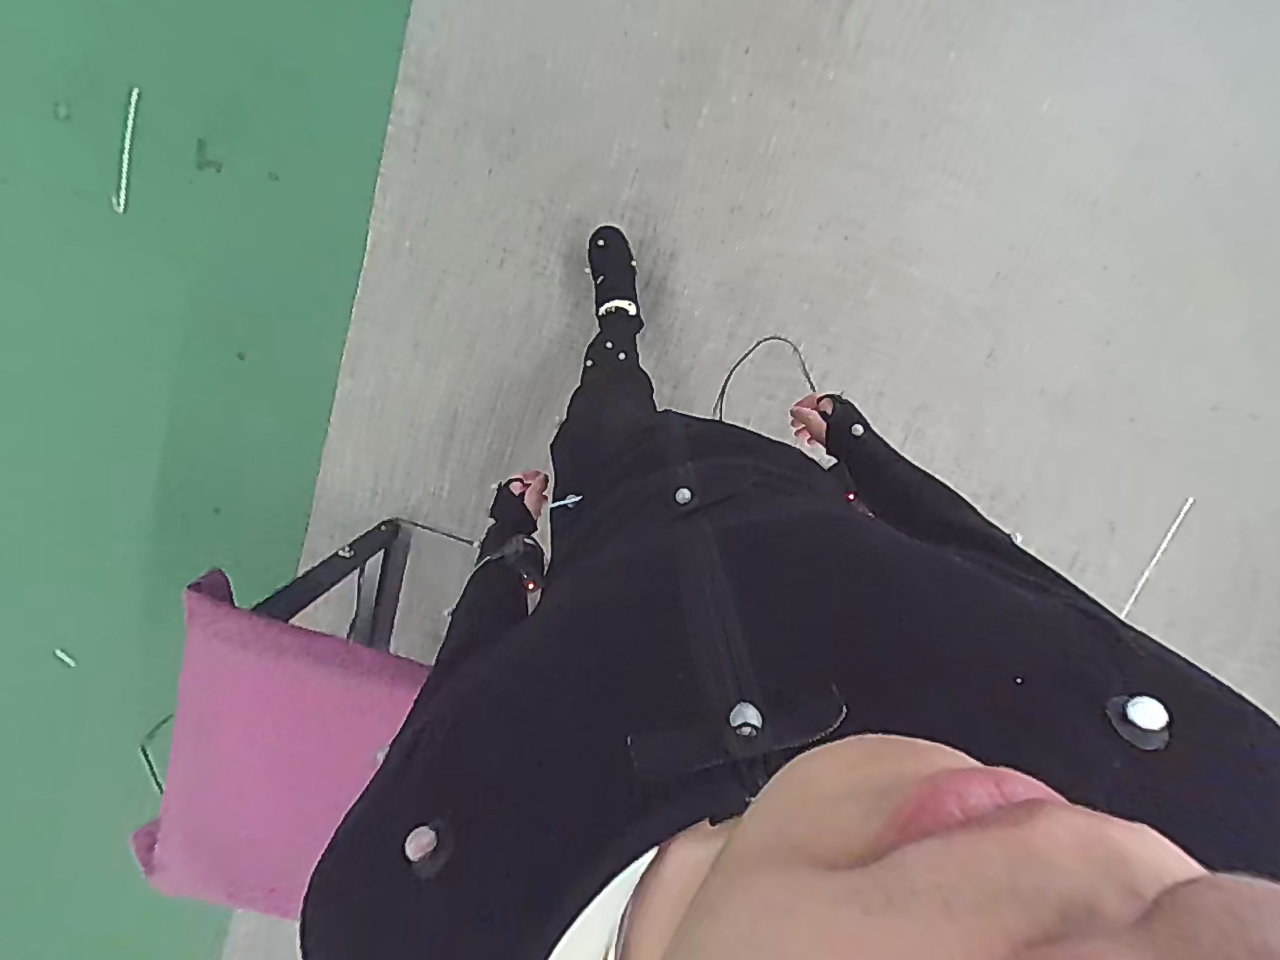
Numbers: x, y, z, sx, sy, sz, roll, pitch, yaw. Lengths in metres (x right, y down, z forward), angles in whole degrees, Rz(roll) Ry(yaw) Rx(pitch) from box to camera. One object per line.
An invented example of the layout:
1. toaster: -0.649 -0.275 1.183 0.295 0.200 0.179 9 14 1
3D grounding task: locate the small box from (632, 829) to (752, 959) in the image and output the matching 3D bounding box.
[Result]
1. small box: 0.087 0.785 0.980 0.168 0.176 0.179 15 103 -3
